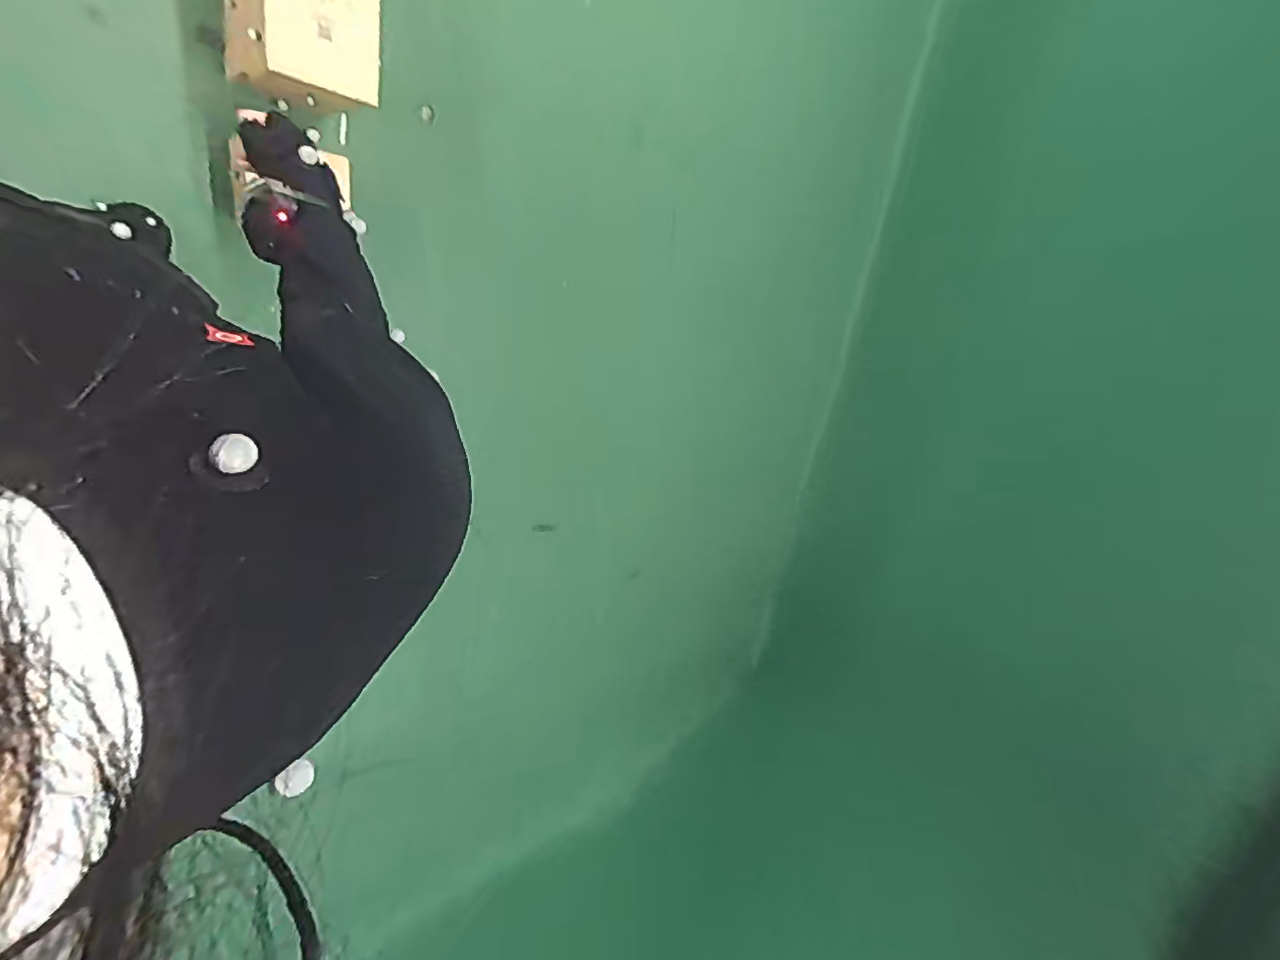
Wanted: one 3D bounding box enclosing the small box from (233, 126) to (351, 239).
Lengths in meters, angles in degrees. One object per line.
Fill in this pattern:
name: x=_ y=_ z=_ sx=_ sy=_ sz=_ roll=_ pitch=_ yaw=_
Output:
small box: x=-0.714 y=-0.606 z=1.112 sx=0.179 sy=0.176 sz=0.168 roll=-8 pitch=117 yaw=-41
